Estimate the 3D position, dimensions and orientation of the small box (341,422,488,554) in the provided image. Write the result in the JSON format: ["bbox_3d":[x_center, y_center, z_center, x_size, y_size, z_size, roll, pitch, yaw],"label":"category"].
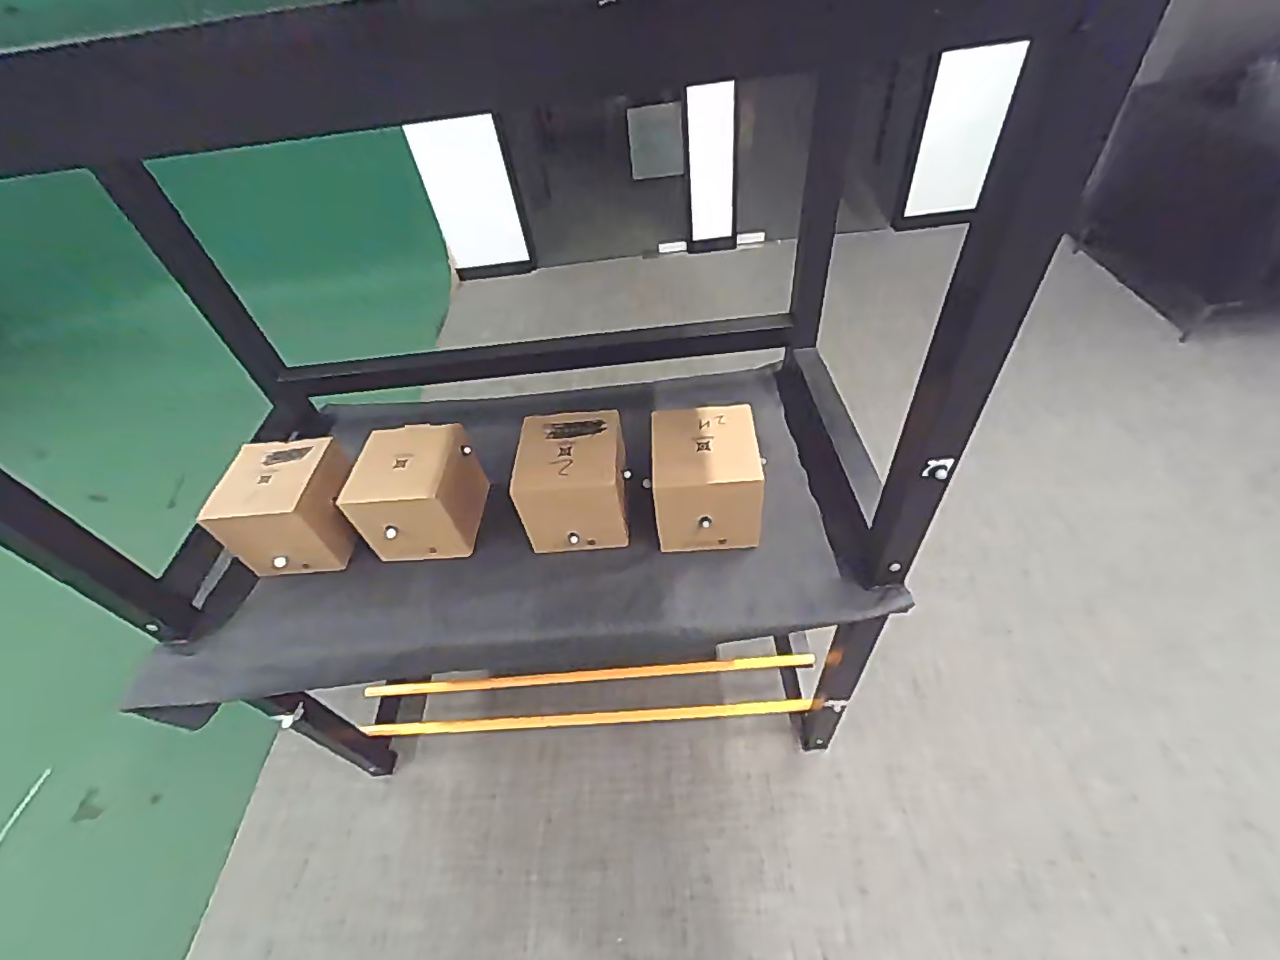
[{"bbox_3d":[-0.387,0.021,0.967,0.168,0.176,0.179,-4,47,4],"label":"small box"}]

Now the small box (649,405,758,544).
[{"bbox_3d":[0.106,-0.003,0.915,0.168,0.176,0.179,-3,46,5],"label":"small box"}]

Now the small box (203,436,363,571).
[{"bbox_3d":[-0.613,0.043,0.974,0.168,0.176,0.179,-5,48,3],"label":"small box"}]
